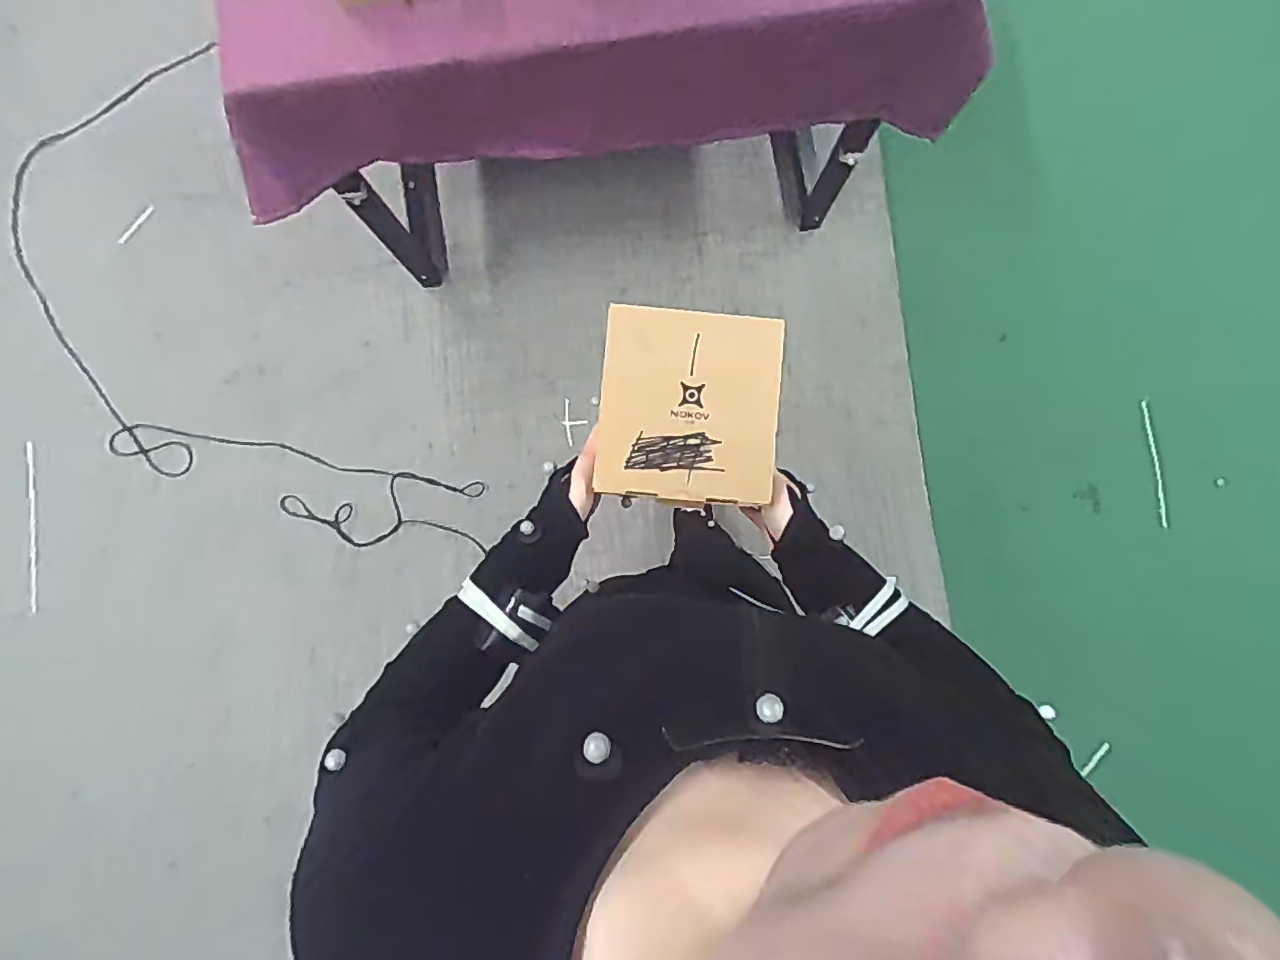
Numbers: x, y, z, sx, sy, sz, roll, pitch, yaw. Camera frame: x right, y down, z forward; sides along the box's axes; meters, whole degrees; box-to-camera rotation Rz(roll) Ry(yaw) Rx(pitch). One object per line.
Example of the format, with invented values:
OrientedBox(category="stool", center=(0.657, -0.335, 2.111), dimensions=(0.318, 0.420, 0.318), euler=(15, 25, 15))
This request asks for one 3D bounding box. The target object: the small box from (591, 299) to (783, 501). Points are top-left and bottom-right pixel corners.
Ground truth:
OrientedBox(category="small box", center=(0.043, -0.070, 0.571), dimensions=(0.168, 0.176, 0.179), euler=(4, 87, -1))
